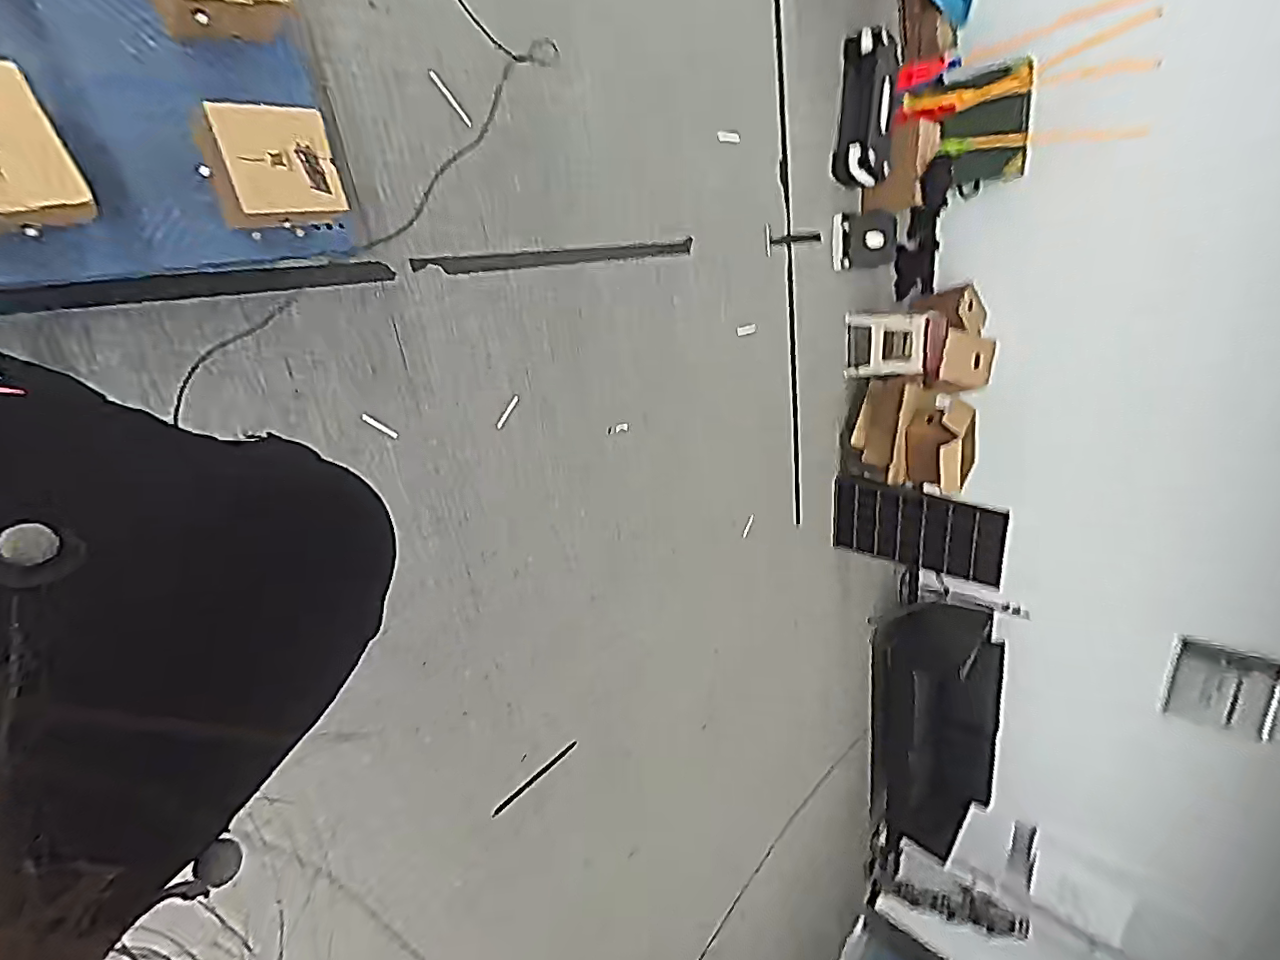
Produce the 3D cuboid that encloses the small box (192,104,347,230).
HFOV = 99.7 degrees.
[{"bbox_3d":[-0.683,-0.567,0.998,0.179,0.176,0.168,-27,118,-38],"label":"small box"}]

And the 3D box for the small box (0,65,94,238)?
[{"bbox_3d":[-0.932,-0.455,0.765,0.168,0.176,0.179,-34,122,-36],"label":"small box"}]
